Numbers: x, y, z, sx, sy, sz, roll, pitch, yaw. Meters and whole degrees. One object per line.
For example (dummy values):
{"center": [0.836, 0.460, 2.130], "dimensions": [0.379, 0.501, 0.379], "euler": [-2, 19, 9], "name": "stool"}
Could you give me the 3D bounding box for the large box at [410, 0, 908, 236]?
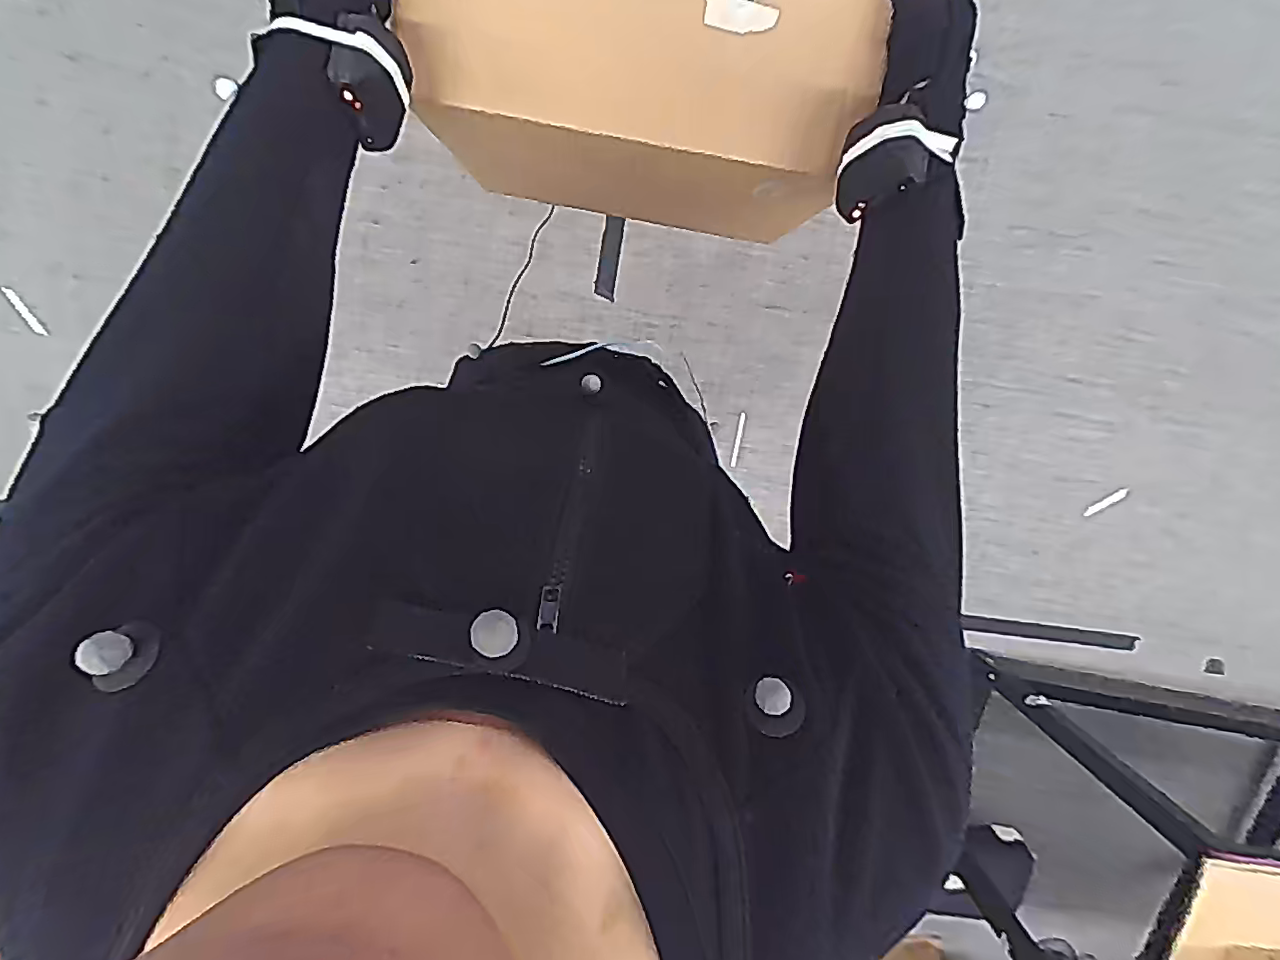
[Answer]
{"center": [0.020, -0.476, 0.566], "dimensions": [0.408, 0.320, 0.320], "euler": [9, 105, -5], "name": "large box"}
